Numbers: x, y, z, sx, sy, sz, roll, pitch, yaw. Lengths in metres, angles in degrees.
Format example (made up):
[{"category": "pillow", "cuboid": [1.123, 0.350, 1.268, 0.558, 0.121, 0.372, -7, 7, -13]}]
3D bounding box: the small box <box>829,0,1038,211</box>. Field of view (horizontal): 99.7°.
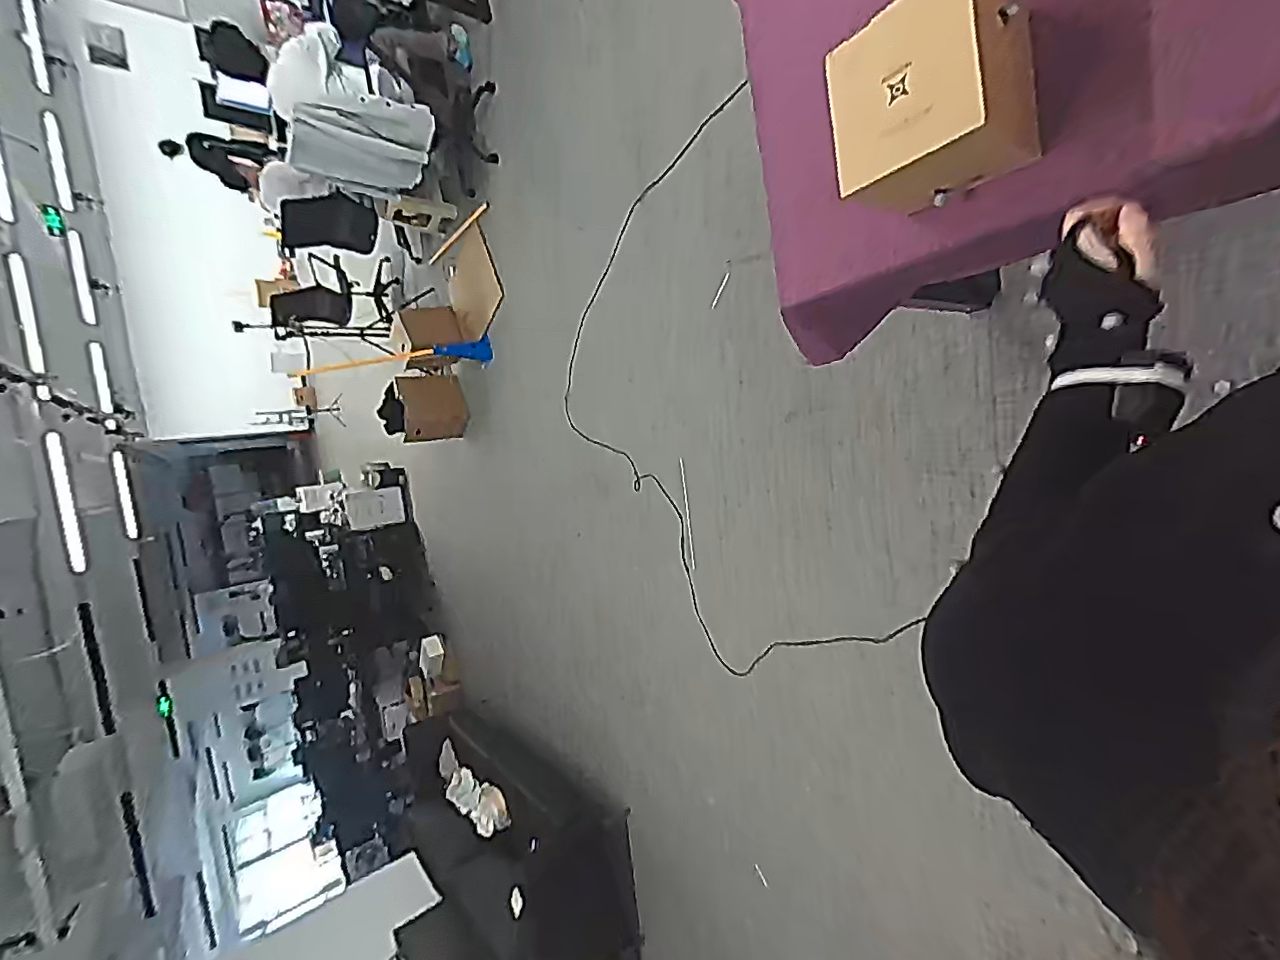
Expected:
[{"category": "small box", "cuboid": [0.357, -0.458, 0.660, 0.168, 0.176, 0.179, -3, 97, 53]}]
